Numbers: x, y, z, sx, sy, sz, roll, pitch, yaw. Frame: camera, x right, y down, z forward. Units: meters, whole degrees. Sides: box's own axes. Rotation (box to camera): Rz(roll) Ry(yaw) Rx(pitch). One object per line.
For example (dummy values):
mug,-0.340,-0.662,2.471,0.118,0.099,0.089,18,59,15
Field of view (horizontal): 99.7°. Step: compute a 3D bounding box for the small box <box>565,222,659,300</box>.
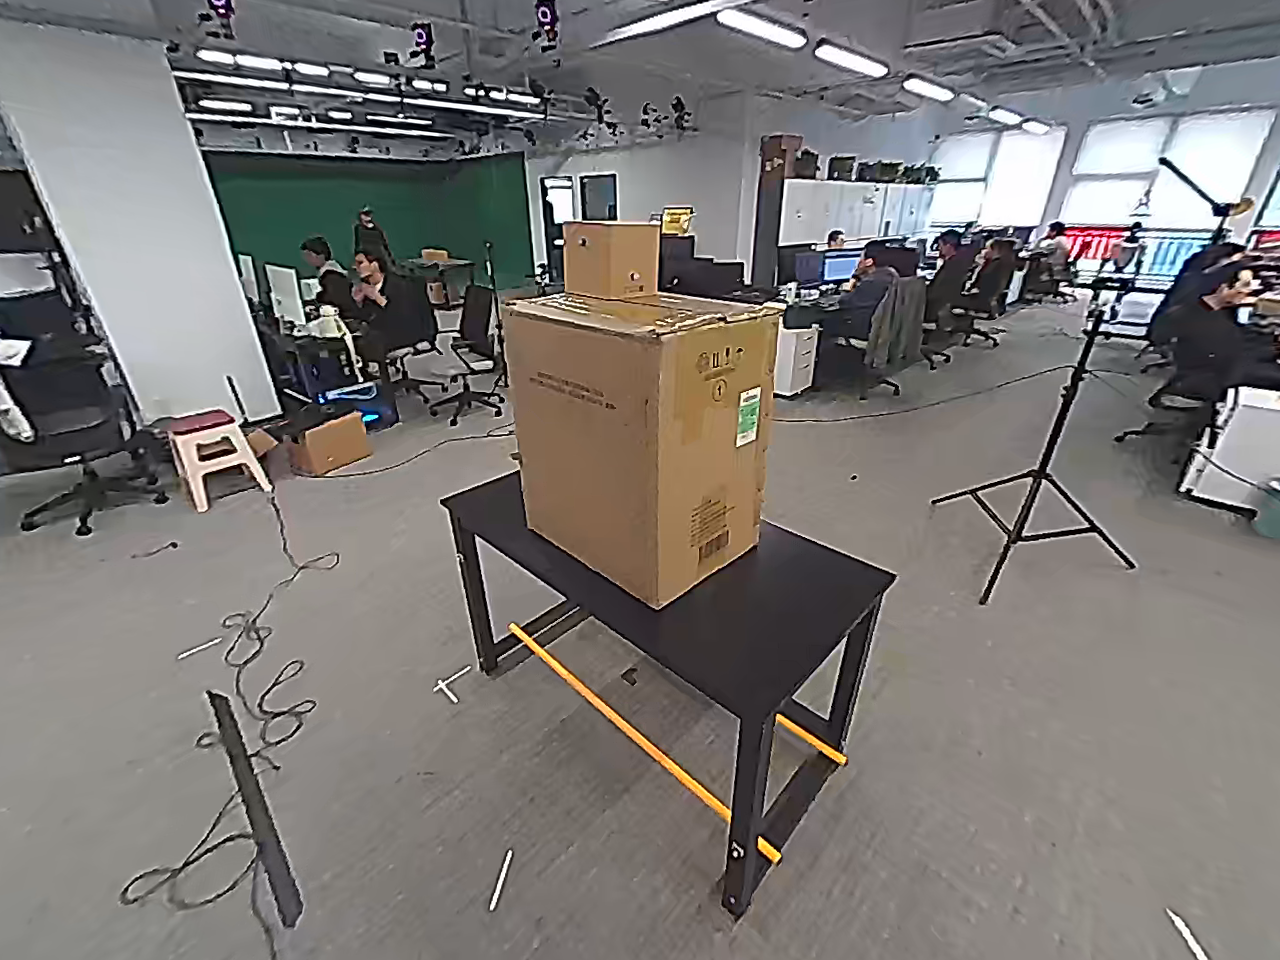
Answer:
small box,-0.071,-0.546,1.347,0.179,0.176,0.168,25,35,39
